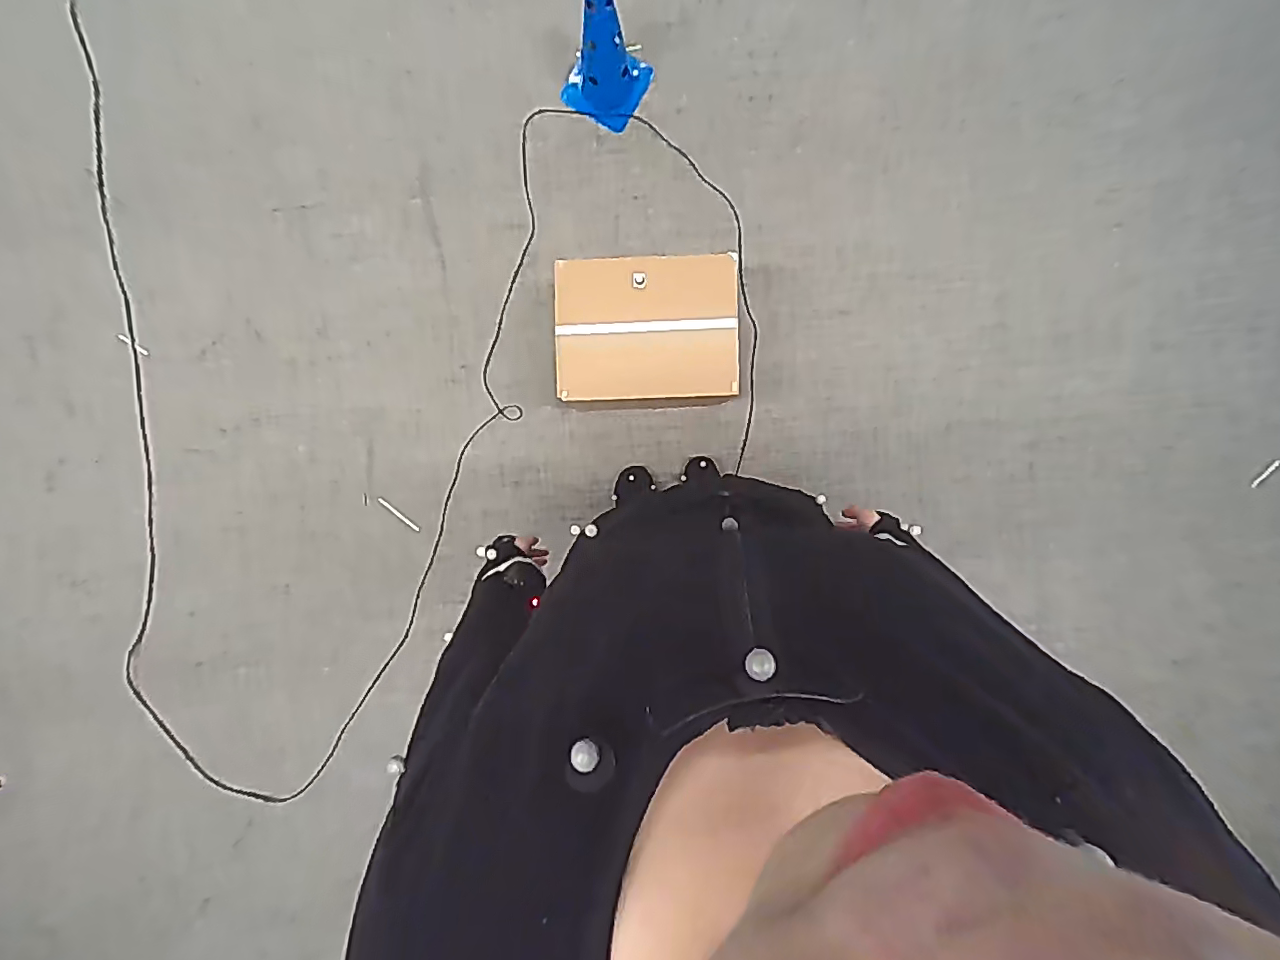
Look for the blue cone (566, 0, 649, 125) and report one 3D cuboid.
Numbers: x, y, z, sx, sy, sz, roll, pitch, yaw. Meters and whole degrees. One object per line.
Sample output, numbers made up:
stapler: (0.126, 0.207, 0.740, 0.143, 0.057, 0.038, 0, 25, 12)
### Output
blue cone: (-0.089, -1.066, 1.285, 0.192, 0.380, 0.193, 28, 91, -1)
